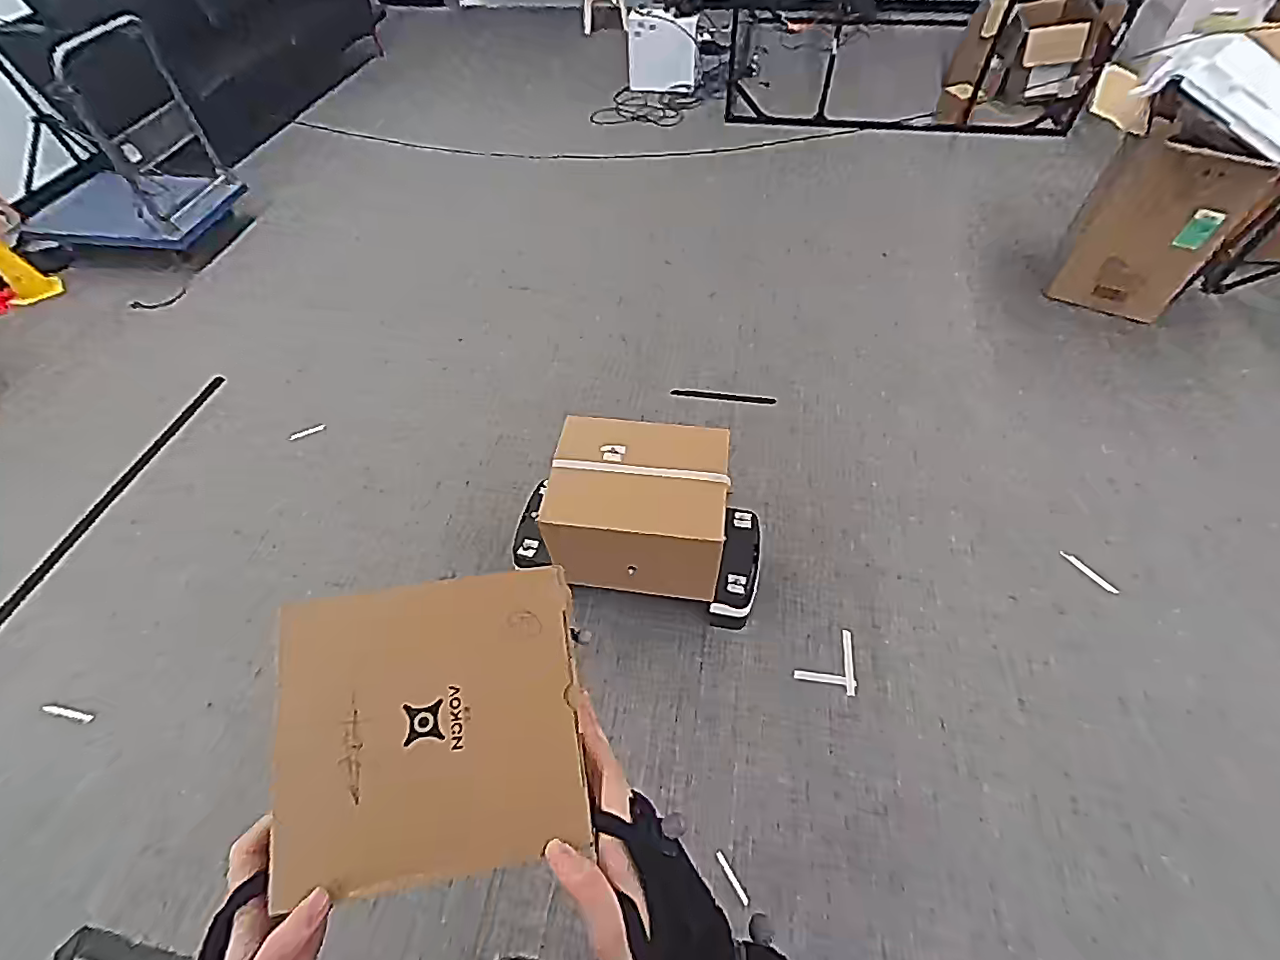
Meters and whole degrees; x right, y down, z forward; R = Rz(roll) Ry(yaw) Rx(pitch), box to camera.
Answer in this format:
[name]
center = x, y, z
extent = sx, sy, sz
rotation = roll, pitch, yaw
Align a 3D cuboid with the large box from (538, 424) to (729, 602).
[large box]
center = 0.006, 0.087, 1.338
extent = 0.408, 0.320, 0.320
rotation = 5, 53, 7
